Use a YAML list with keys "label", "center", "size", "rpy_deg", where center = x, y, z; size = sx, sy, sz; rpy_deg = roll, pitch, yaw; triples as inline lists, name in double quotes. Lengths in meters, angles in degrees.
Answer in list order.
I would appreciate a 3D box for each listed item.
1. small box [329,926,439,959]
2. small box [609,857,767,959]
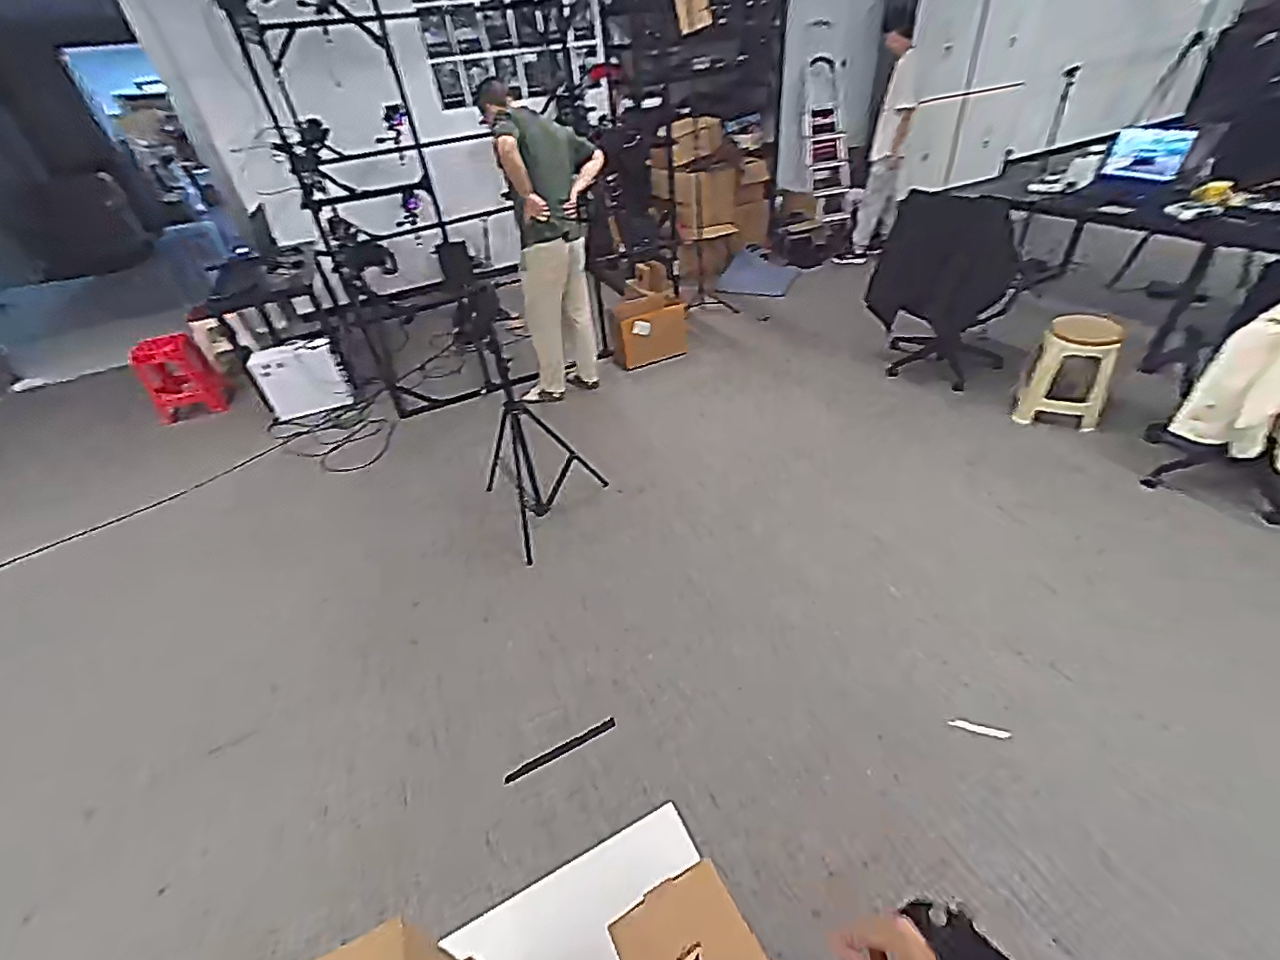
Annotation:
- label: "small box"
  center: [-0.240, 0.525, 0.443]
  size: [0.168, 0.176, 0.179]
  rpy_deg: [-19, 39, -14]
- label: "small box"
  center: [0.076, 0.672, 0.734]
  size: [0.168, 0.176, 0.179]
  rpy_deg: [-24, 41, -18]
